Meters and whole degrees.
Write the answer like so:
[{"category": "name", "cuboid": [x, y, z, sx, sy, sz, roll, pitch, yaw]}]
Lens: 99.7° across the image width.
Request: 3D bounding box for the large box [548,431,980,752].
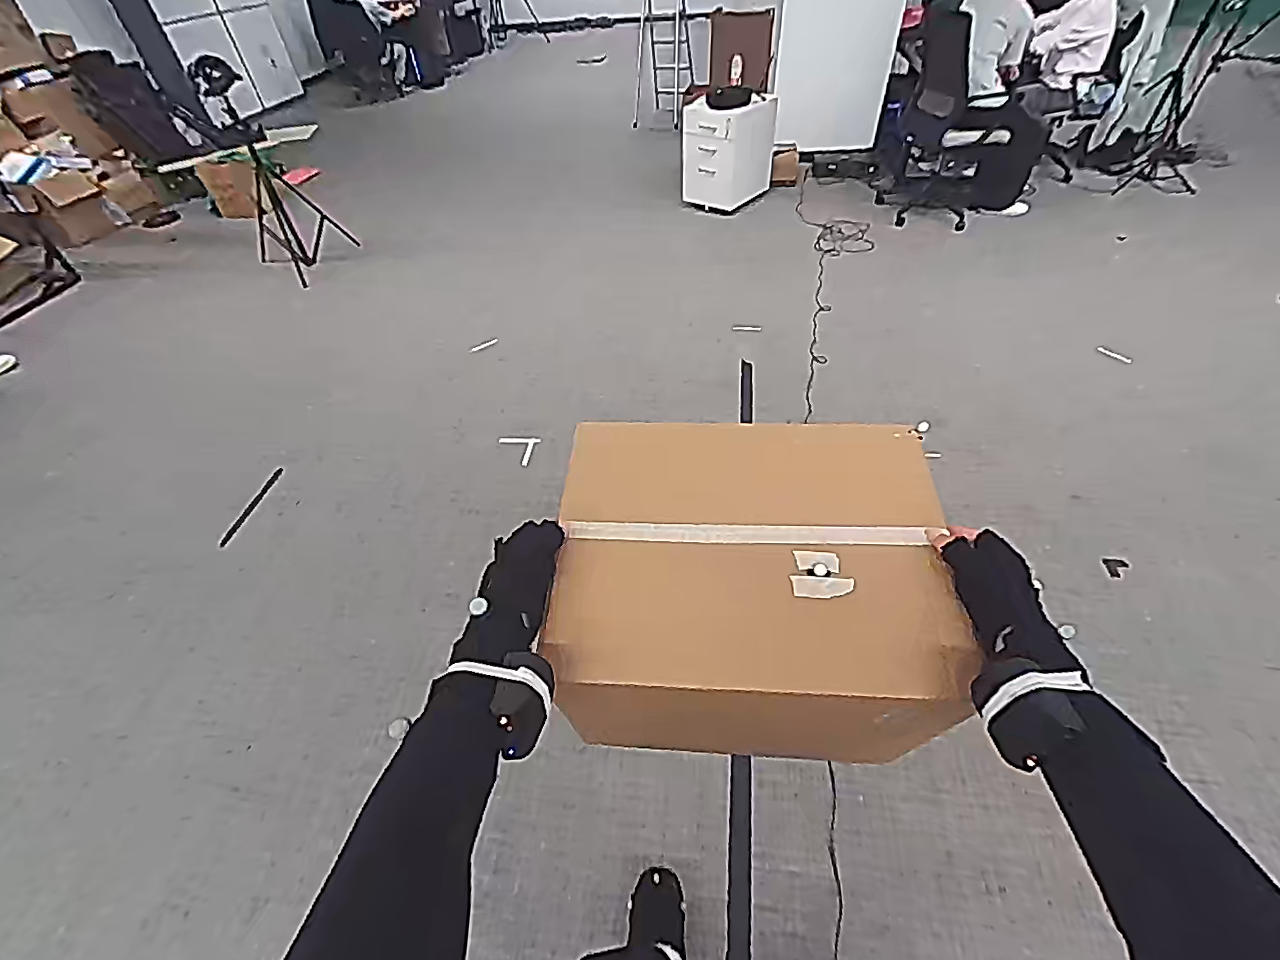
[{"category": "large box", "cuboid": [0.122, 0.150, 0.702, 0.408, 0.320, 0.320, 1, 54, 5]}]
